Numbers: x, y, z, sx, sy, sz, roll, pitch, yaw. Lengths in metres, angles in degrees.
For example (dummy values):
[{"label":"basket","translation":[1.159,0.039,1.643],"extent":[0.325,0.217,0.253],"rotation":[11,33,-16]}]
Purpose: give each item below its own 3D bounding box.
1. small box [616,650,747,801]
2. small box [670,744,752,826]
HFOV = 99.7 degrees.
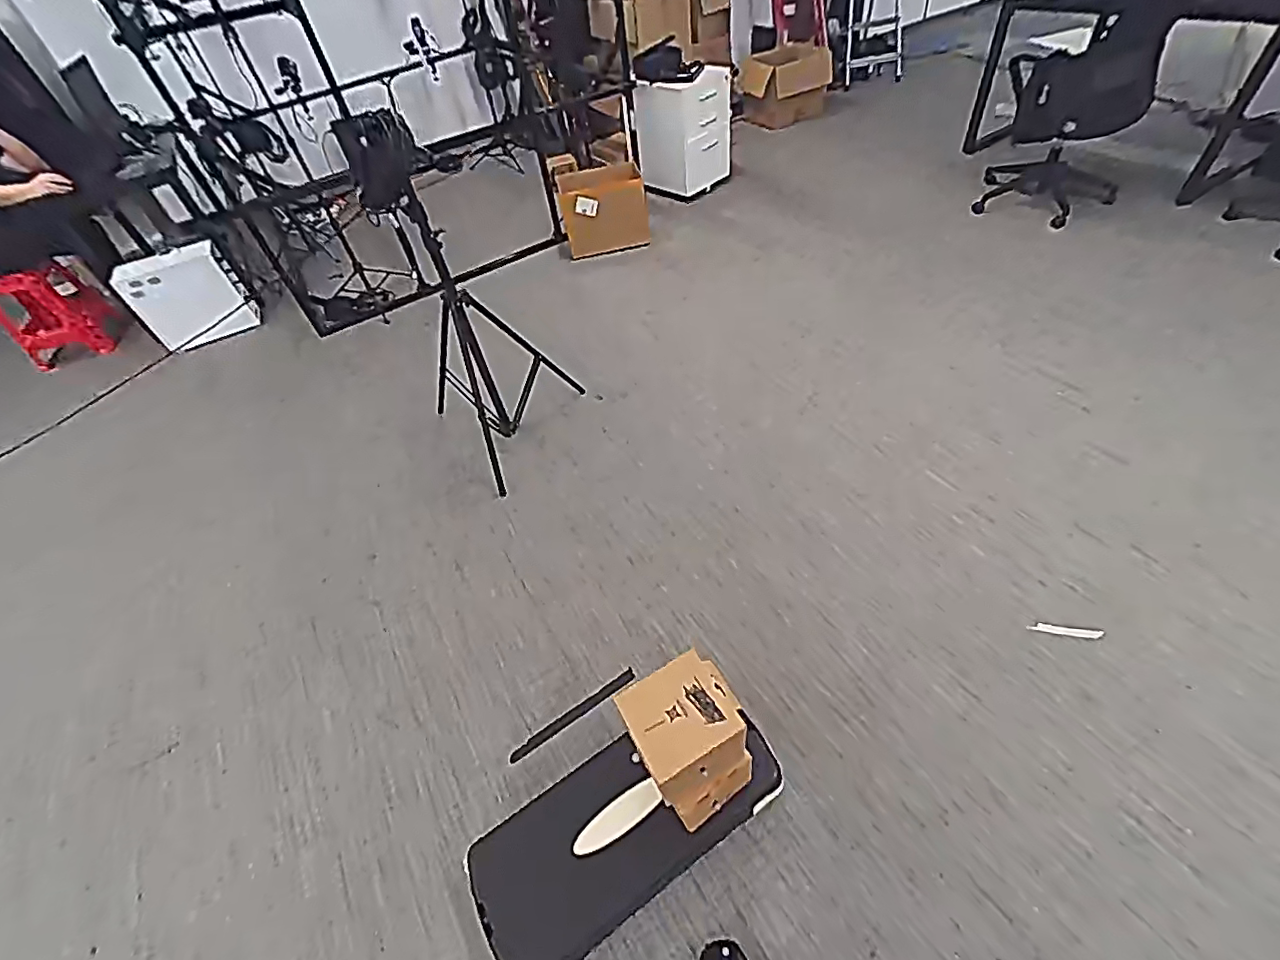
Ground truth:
[{"label":"small box","translation":[0.076,0.452,0.992],"extent":[0.179,0.176,0.168],"rotation":[-27,50,-14]},{"label":"small box","translation":[0.108,0.566,1.107],"extent":[0.168,0.176,0.179],"rotation":[-31,52,-18]}]
